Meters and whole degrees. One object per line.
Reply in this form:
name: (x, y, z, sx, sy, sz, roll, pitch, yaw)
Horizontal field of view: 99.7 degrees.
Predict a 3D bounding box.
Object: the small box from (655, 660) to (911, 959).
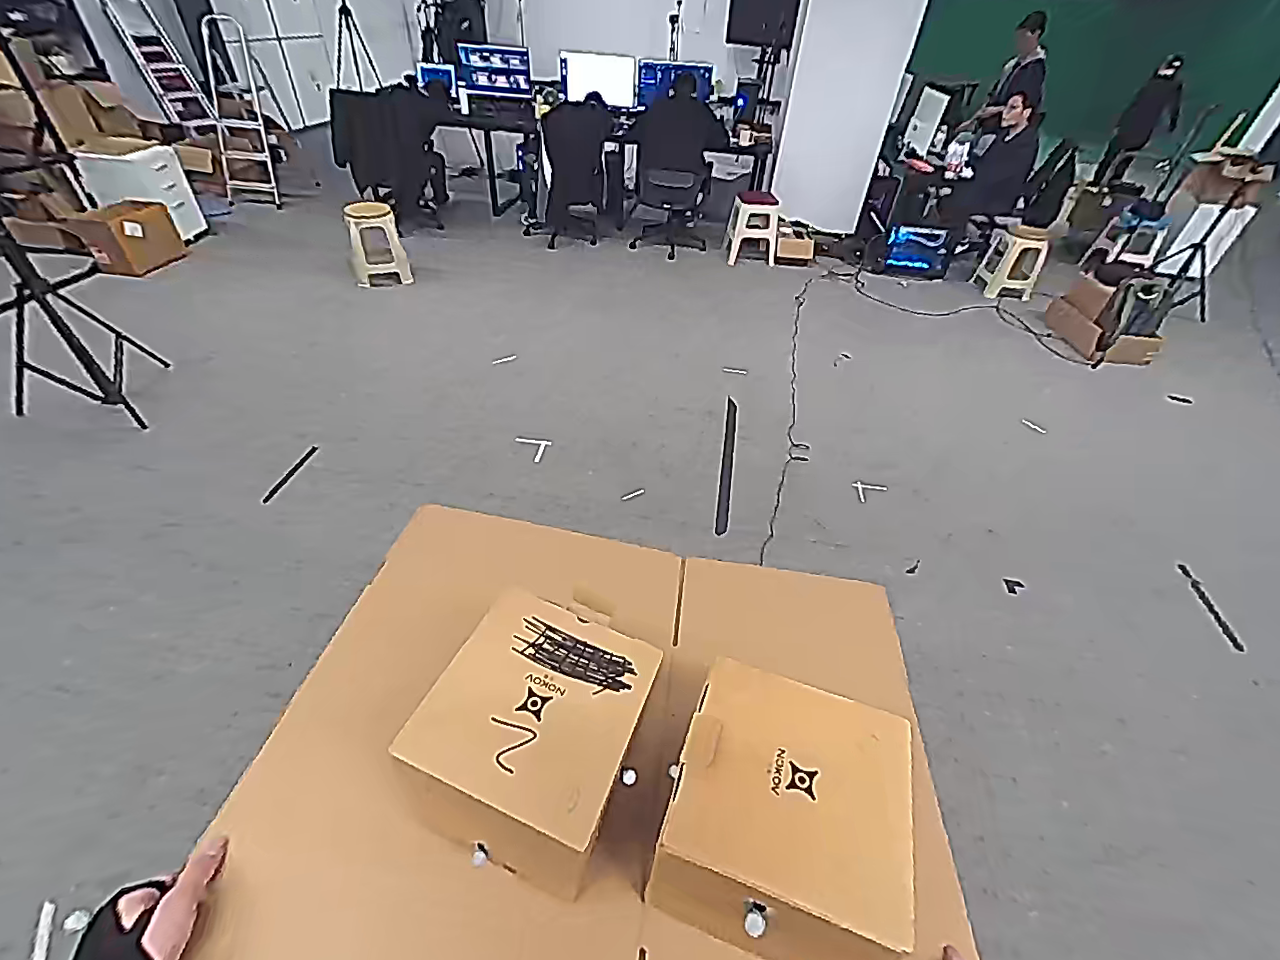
small box: (0.122, 0.300, 0.487, 0.179, 0.176, 0.168, 15, 42, 14)
